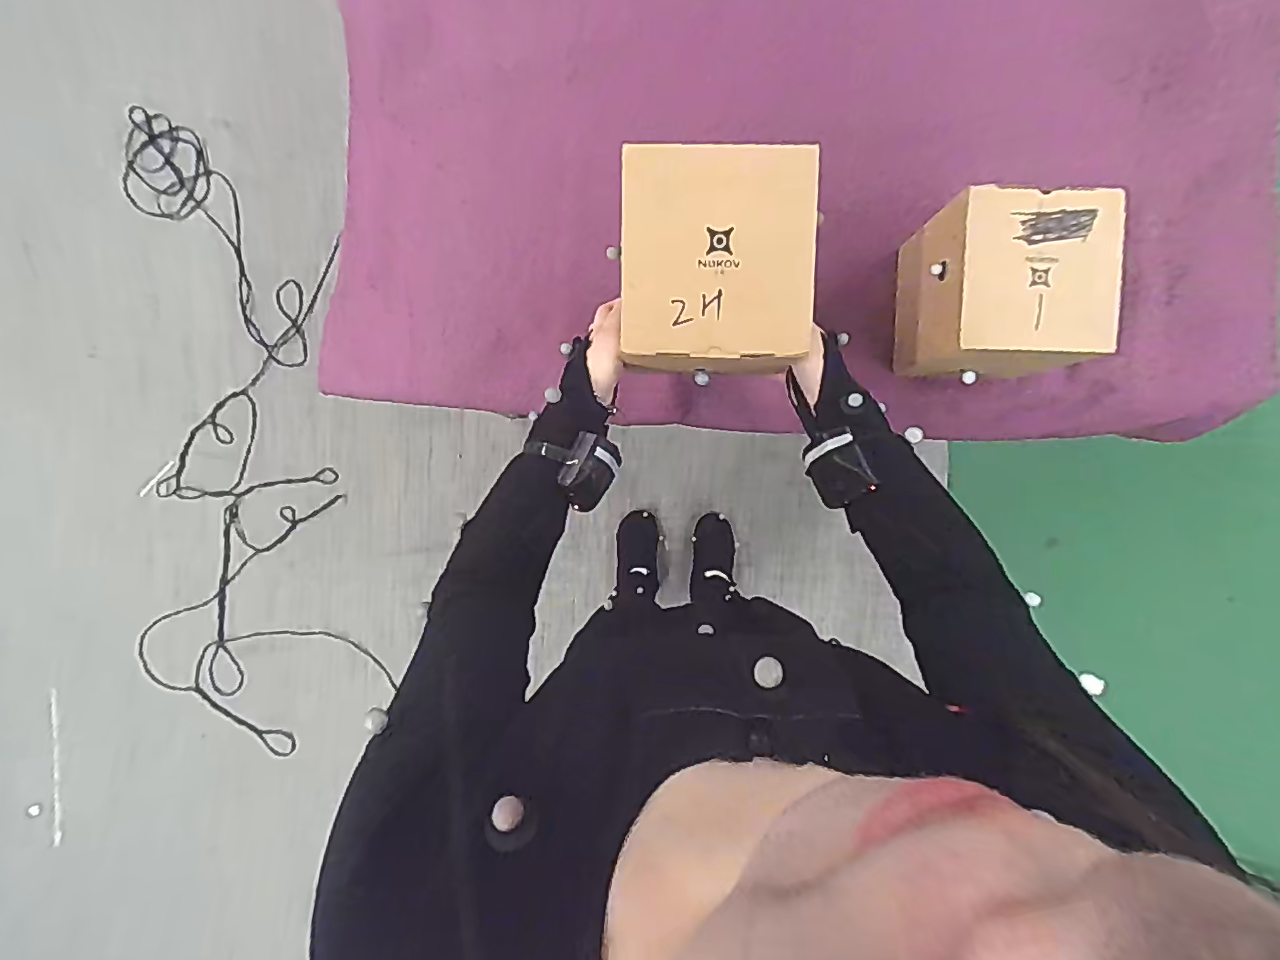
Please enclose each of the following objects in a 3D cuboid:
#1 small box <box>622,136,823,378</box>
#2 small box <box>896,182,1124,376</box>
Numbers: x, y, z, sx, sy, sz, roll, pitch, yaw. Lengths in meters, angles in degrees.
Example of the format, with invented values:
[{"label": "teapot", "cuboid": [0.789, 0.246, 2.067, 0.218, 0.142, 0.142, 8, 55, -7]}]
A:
[{"label": "small box", "cuboid": [0.069, -0.201, 0.530, 0.168, 0.176, 0.179, 1, 94, 1]}, {"label": "small box", "cuboid": [0.429, -0.230, 0.655, 0.168, 0.176, 0.179, 2, 92, 2]}]
